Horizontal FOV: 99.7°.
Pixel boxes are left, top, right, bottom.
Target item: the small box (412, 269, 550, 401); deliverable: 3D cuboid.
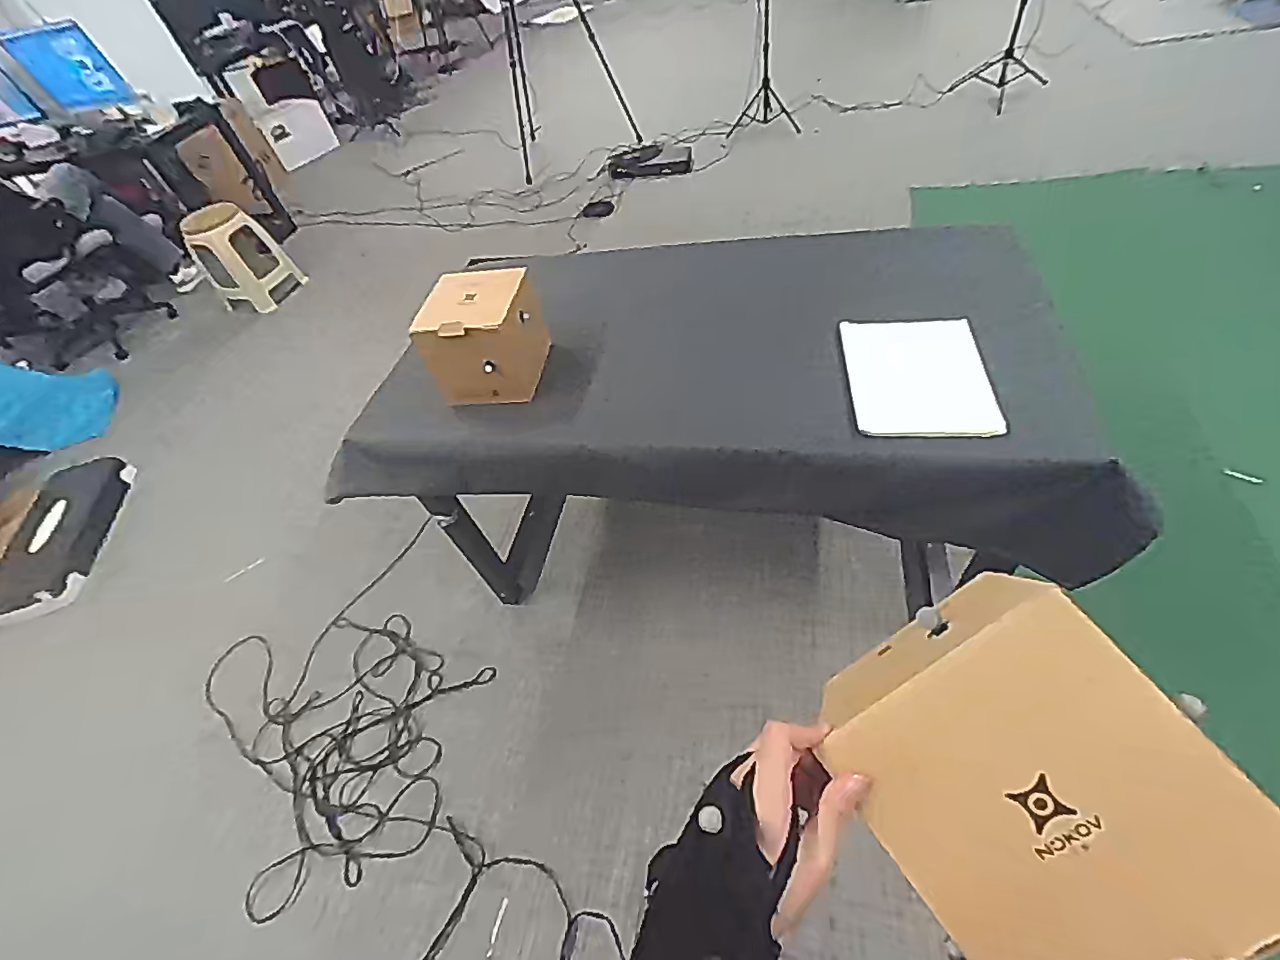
[{"bbox_3d":[-0.274,-0.257,0.983,0.168,0.176,0.179,0,50,10],"label":"small box"}]
